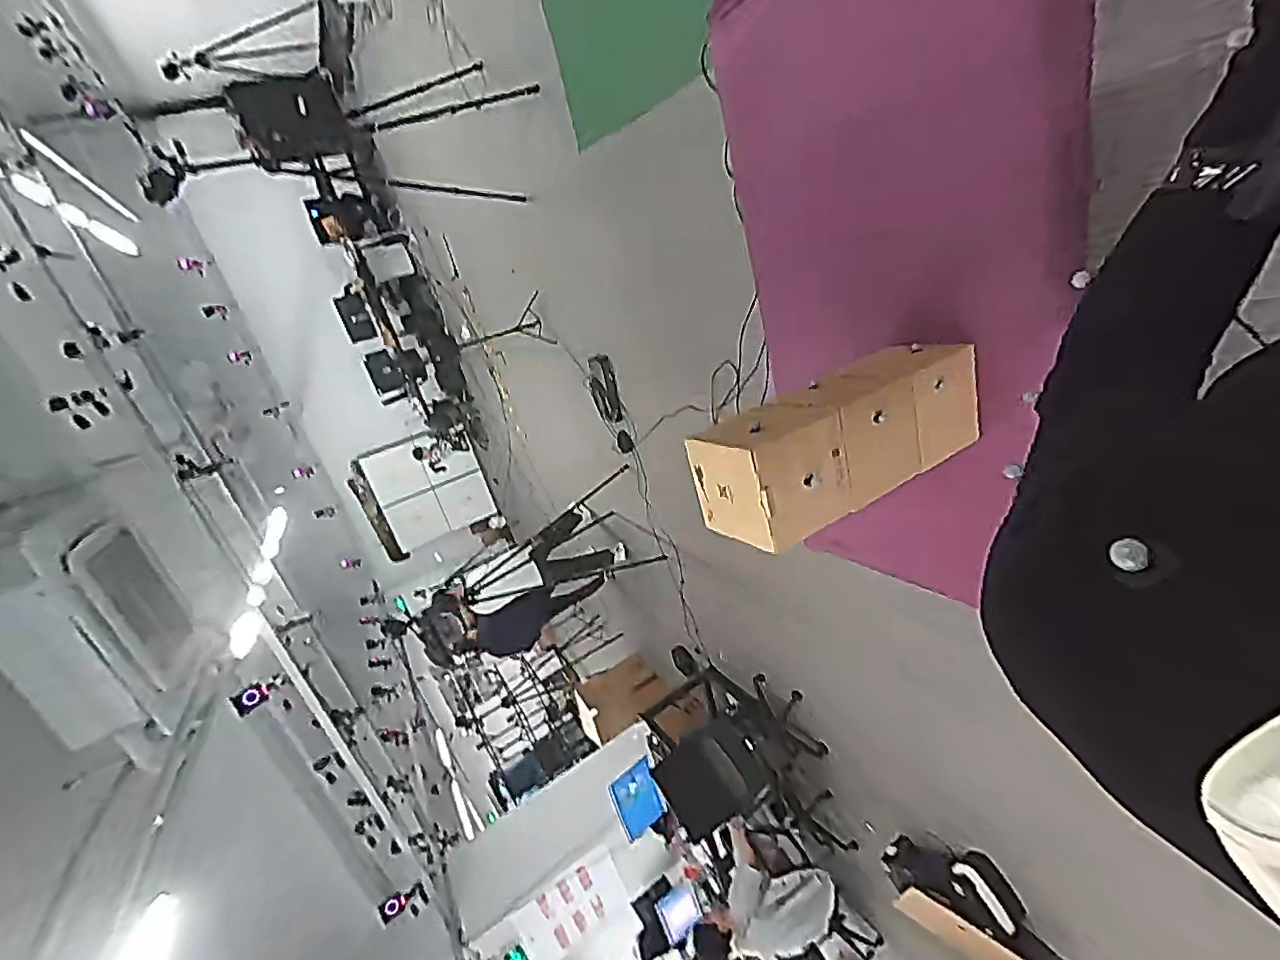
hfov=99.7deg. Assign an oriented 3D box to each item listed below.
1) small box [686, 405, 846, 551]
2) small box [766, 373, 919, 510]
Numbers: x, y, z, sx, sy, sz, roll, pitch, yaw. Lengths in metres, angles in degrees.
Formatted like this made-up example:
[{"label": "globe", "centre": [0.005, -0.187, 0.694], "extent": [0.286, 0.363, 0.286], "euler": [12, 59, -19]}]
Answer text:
[{"label": "small box", "centre": [0.204, -0.014, 0.856], "extent": [0.179, 0.176, 0.168], "euler": [18, 128, 60]}, {"label": "small box", "centre": [0.343, -0.076, 0.915], "extent": [0.168, 0.176, 0.179], "euler": [20, 131, 59]}]
